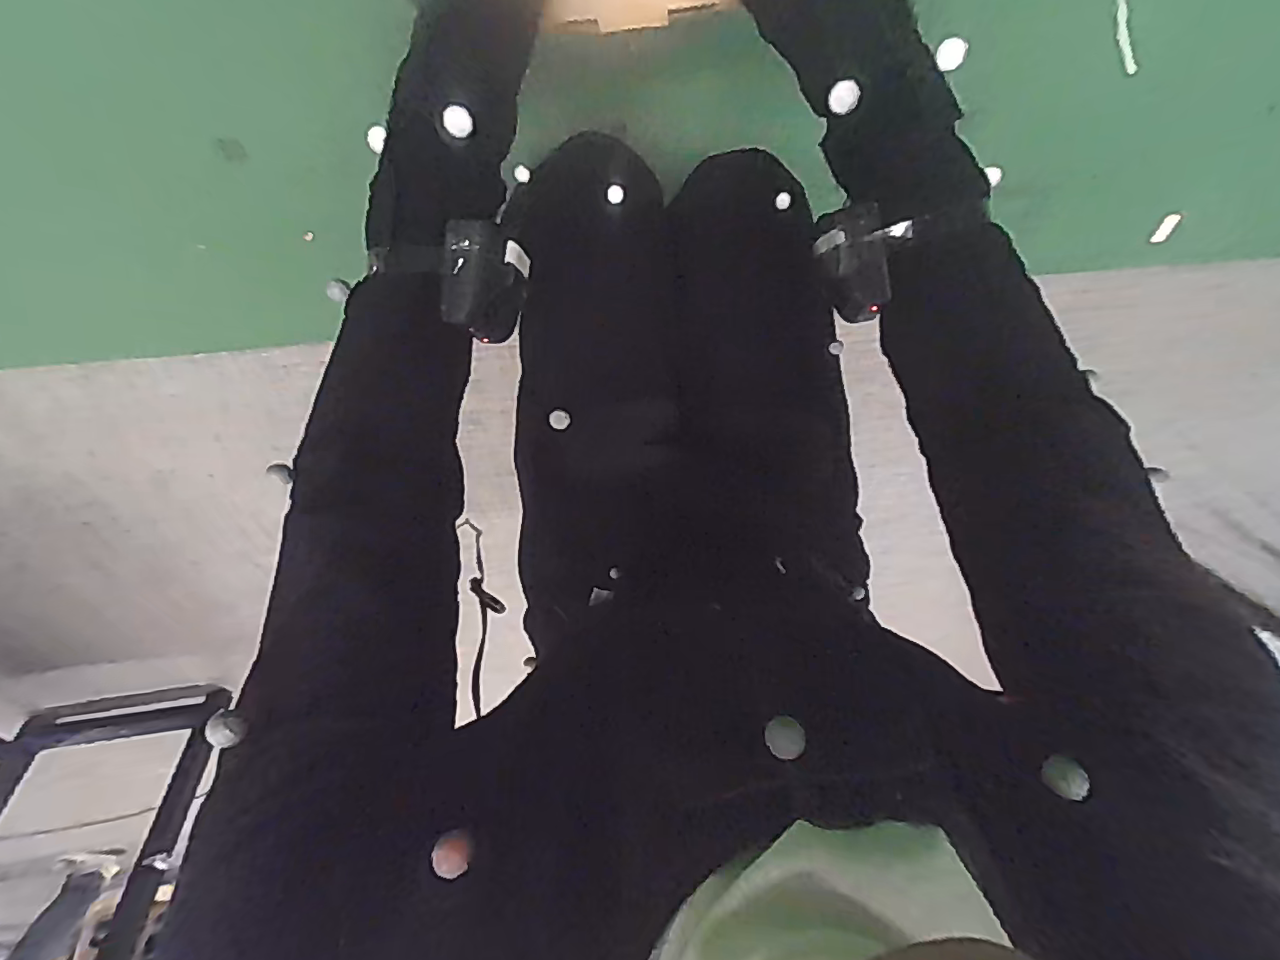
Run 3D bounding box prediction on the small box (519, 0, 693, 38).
[{"bbox_3d":[-0.036,-0.549,0.513,0.168,0.176,0.179,-4,135,-10],"label":"small box"}]
